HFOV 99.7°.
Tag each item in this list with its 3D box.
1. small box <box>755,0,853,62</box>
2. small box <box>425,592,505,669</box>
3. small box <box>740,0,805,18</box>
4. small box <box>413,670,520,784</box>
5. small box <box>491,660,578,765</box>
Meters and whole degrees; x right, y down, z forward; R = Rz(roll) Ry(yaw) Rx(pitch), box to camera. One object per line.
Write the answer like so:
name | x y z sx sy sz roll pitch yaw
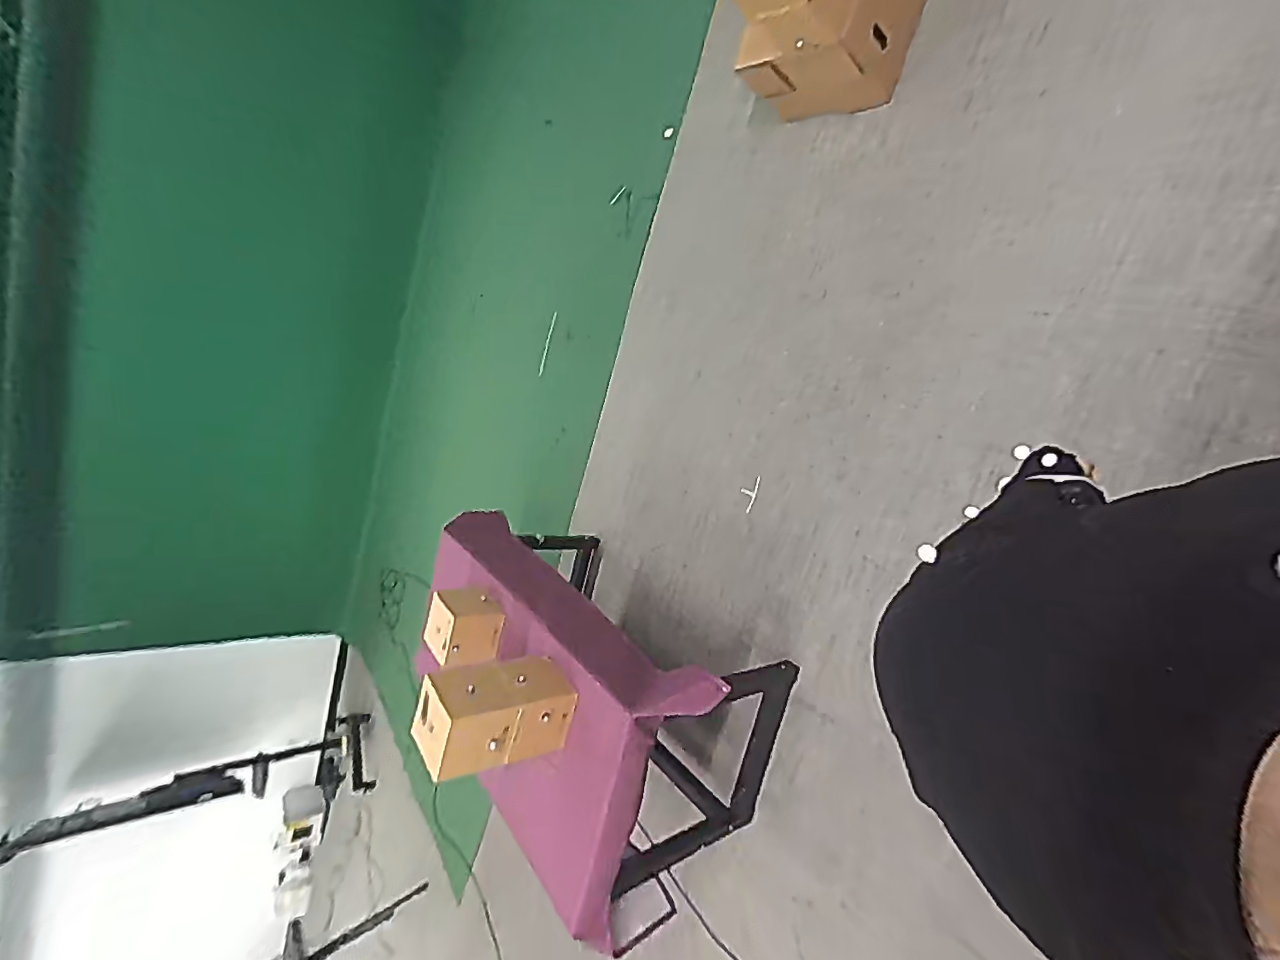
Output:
small box | 0.441 -1.262 1.429 0.168 0.176 0.179 31 107 45
small box | -0.545 0.462 1.684 0.179 0.176 0.168 28 106 47
small box | 0.324 -1.279 1.316 0.179 0.176 0.168 32 107 44
small box | -0.408 0.567 1.272 0.179 0.176 0.168 28 106 45
small box | -0.282 0.580 1.377 0.179 0.176 0.168 29 107 47
